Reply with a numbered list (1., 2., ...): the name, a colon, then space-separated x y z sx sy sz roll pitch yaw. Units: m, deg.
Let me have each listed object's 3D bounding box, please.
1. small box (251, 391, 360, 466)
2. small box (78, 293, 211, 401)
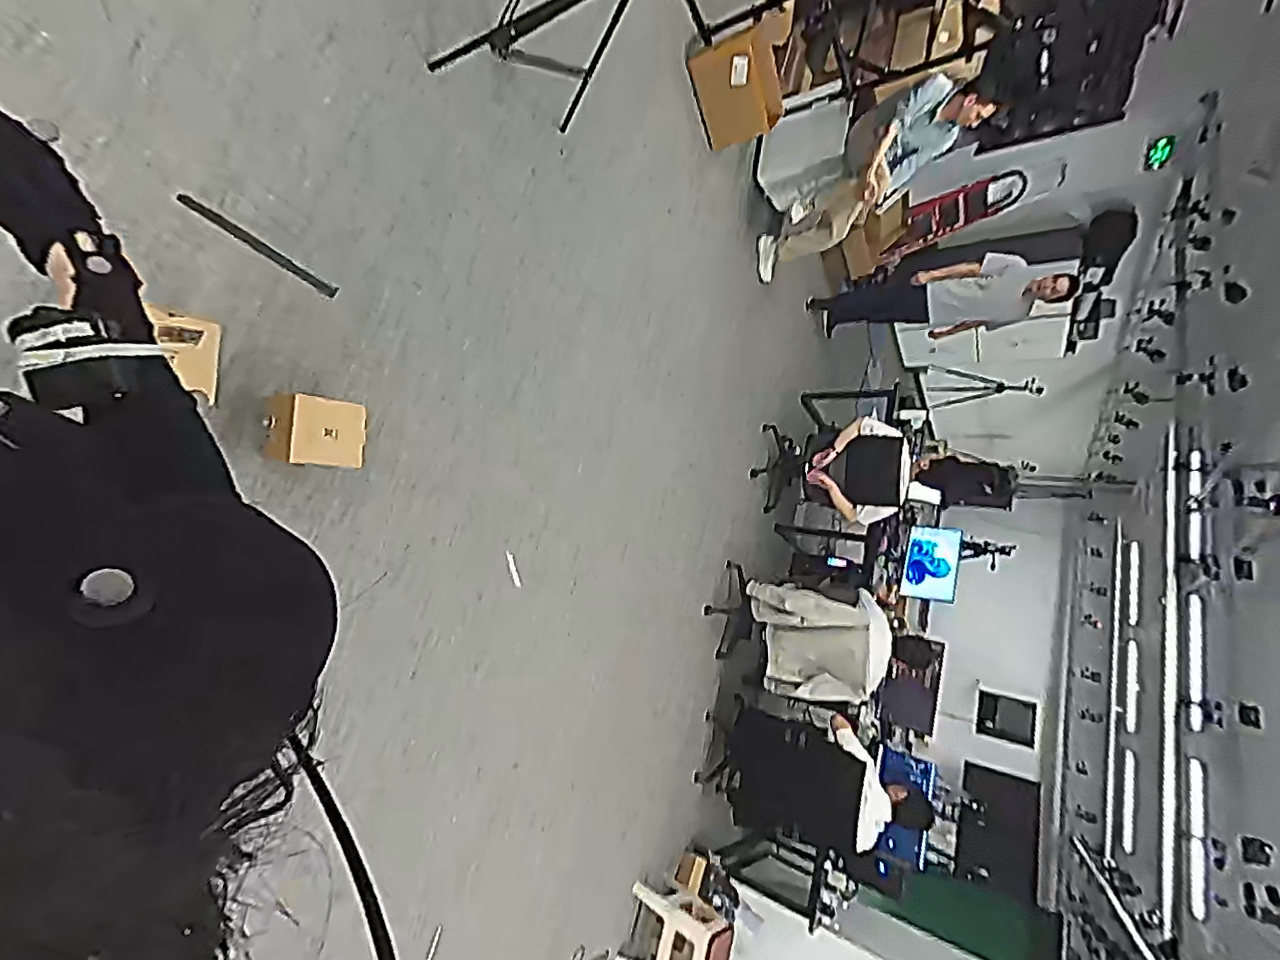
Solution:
1. small box: -0.846 -0.128 1.370 0.179 0.176 0.168 6 88 -54
2. small box: -1.016 -0.263 1.107 0.168 0.176 0.179 5 90 -55
